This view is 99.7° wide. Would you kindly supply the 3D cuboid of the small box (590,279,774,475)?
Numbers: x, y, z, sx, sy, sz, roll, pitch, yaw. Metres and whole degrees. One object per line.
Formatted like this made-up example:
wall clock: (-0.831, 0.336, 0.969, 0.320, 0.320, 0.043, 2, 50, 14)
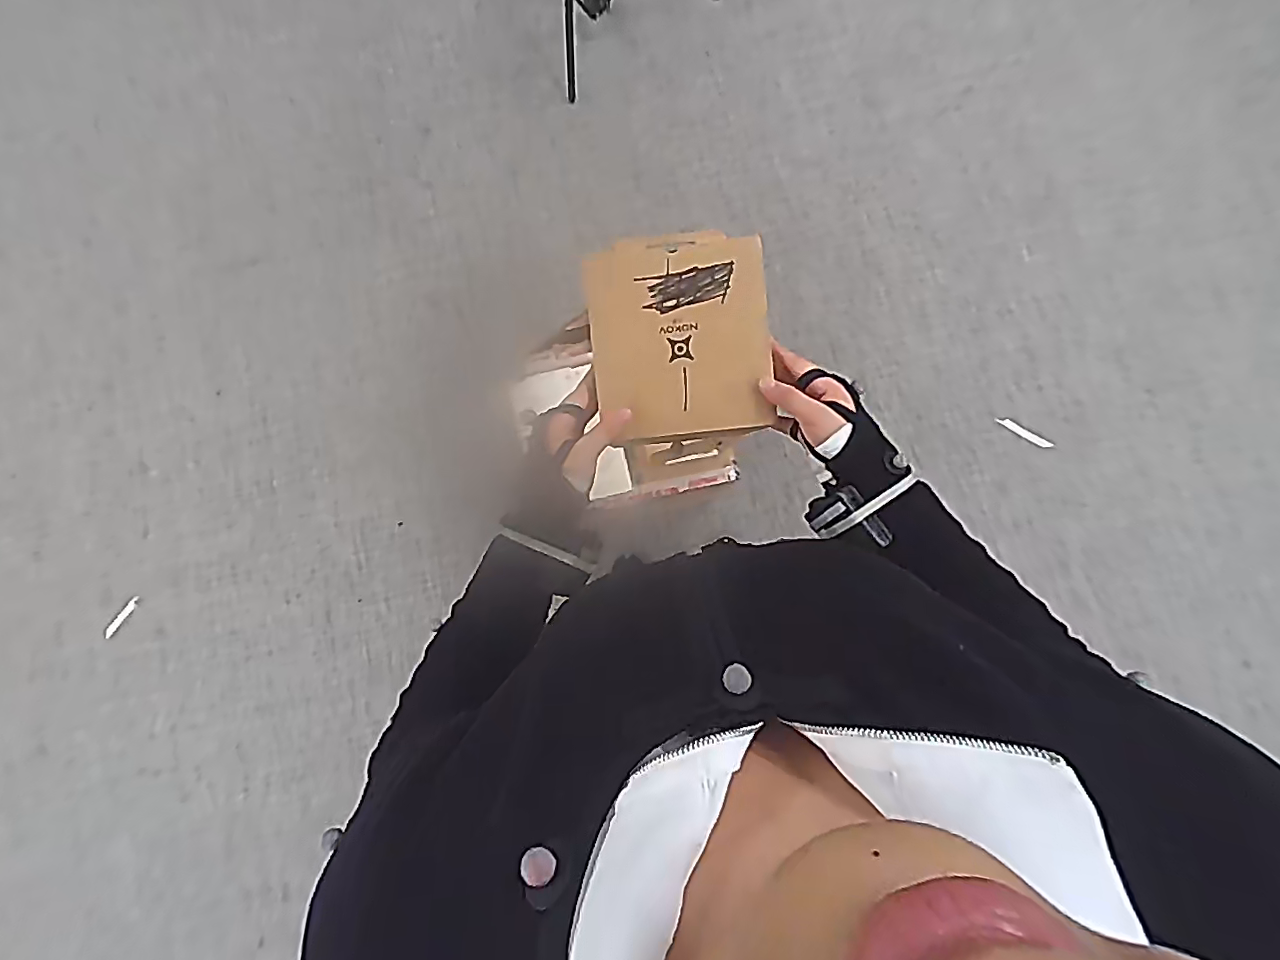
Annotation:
small box: (0.039, -0.099, 0.590, 0.168, 0.176, 0.179, -6, 92, 0)
